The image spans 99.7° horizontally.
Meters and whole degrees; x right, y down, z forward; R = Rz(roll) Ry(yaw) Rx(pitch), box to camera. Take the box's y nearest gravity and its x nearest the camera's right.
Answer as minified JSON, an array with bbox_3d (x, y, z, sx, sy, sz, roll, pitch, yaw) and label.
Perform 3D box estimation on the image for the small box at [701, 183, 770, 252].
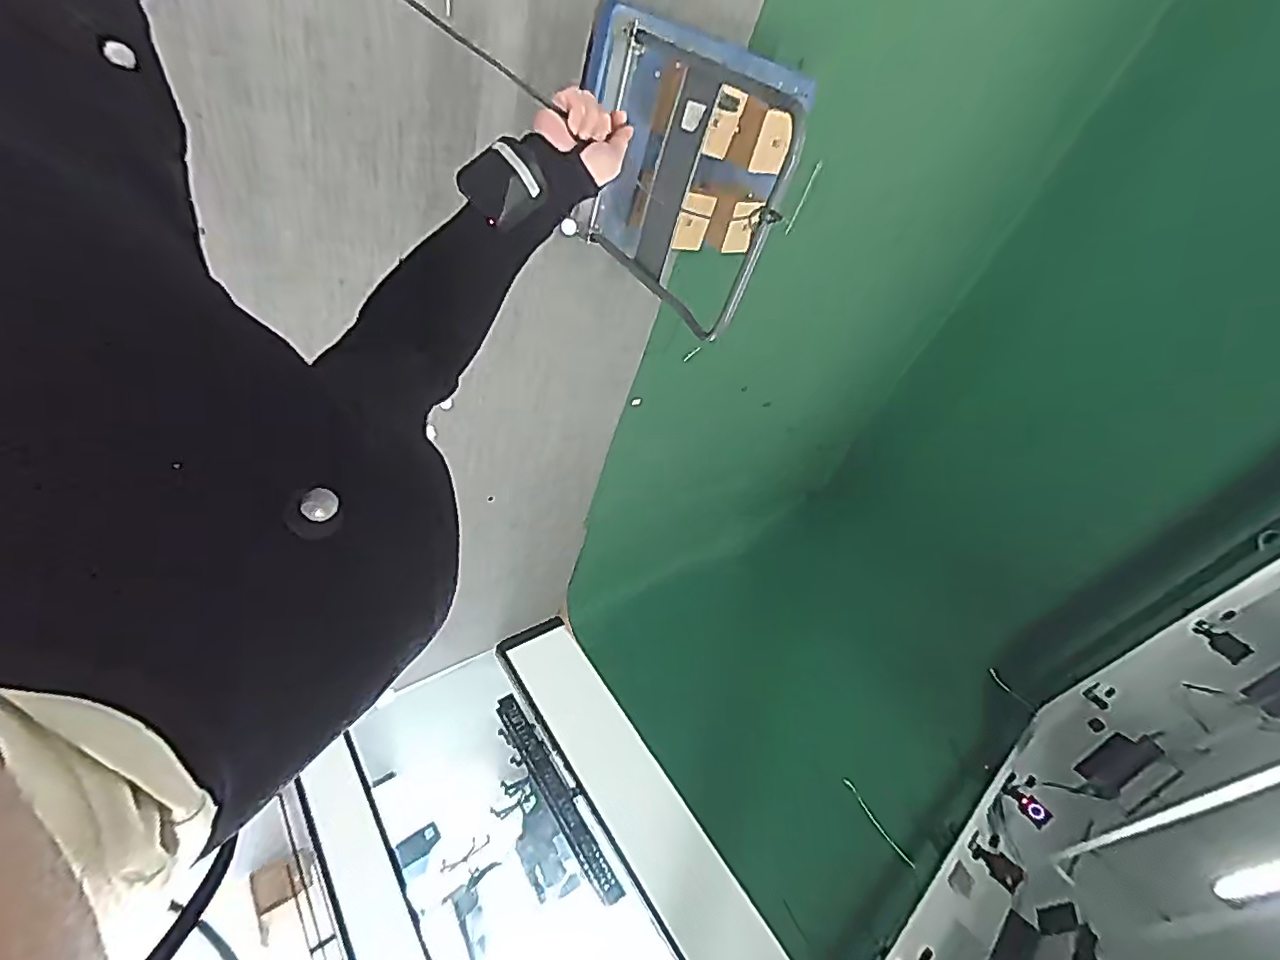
[{"bbox_3d":[0.305,-0.897,1.848,0.179,0.176,0.168,-18,142,-34],"label":"small box"}]

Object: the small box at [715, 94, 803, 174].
[{"bbox_3d":[0.363,-1.076,1.681,0.179,0.176,0.168,-19,144,-35],"label":"small box"}]

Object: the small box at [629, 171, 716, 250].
[{"bbox_3d":[0.098,-0.839,1.684,0.179,0.176,0.168,-14,141,-38],"label":"small box"}]
